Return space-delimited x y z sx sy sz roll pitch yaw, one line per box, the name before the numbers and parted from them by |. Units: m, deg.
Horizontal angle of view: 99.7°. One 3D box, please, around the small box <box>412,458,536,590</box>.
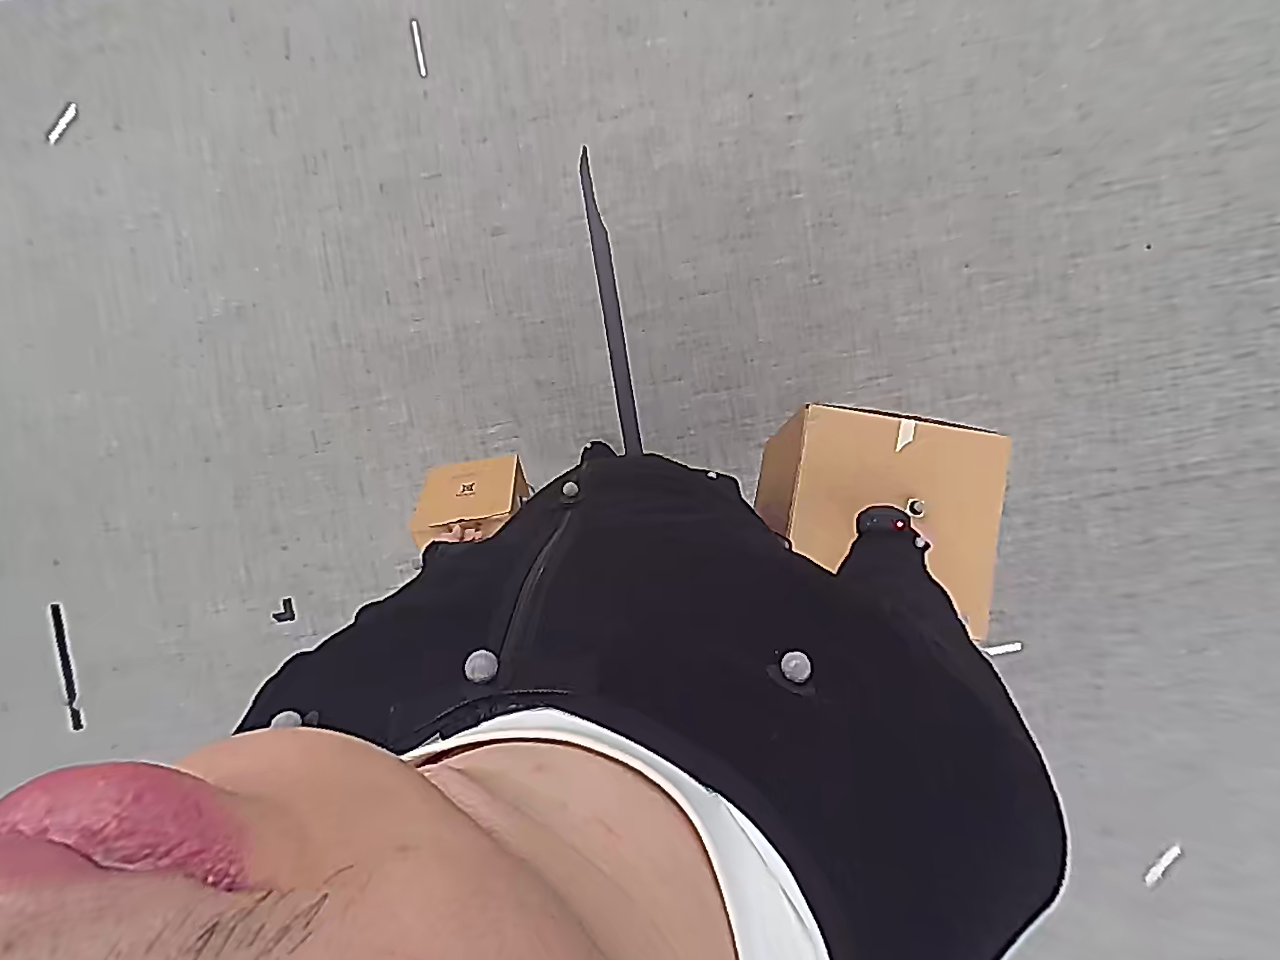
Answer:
small box | -0.293 0.086 0.999 0.168 0.179 0.176 -9 125 -2
